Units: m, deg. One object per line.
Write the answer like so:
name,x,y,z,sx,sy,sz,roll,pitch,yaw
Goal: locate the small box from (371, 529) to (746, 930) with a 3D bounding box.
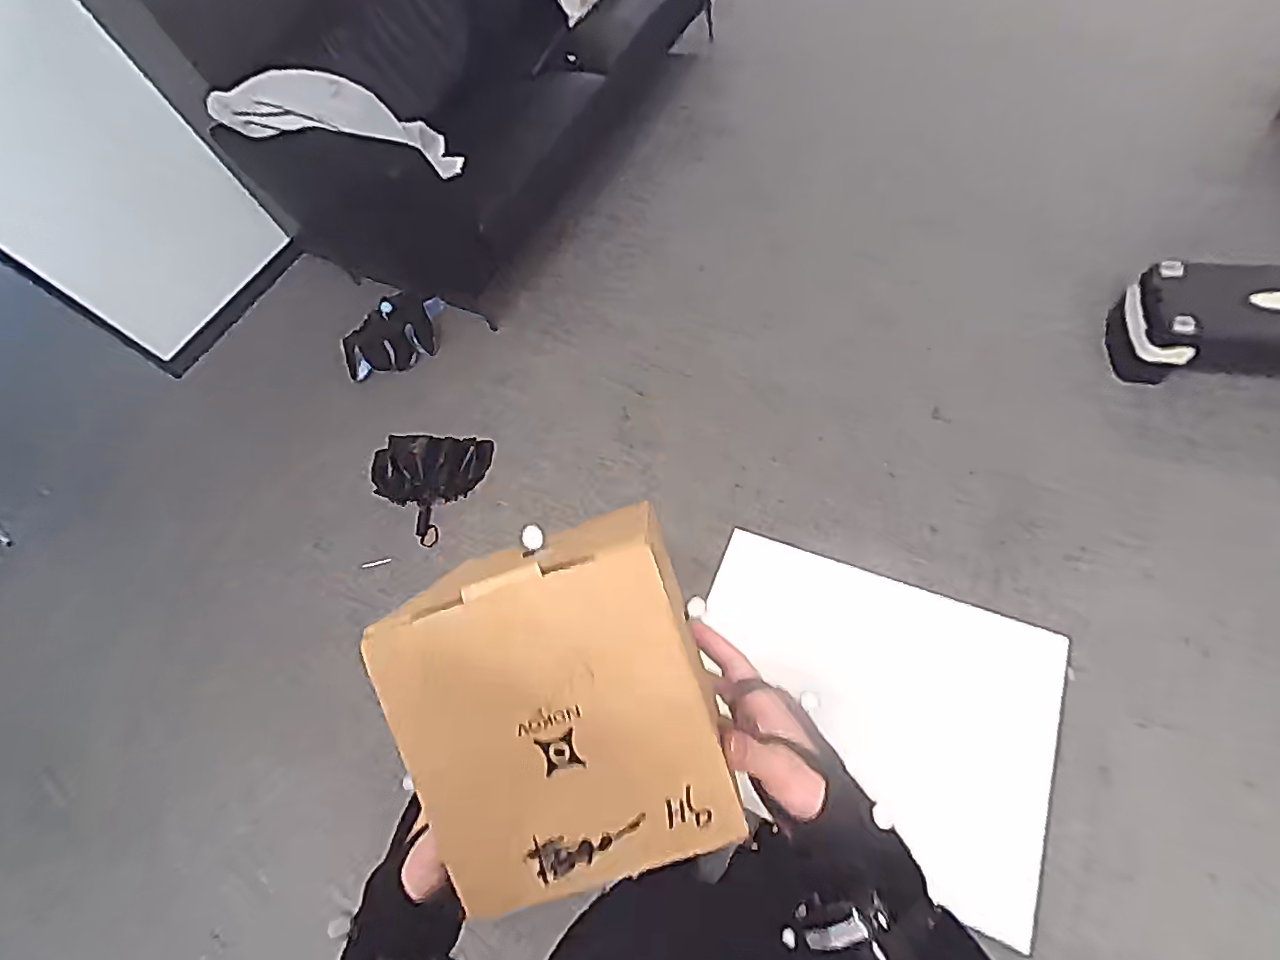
small box,-0.043,0.141,0.375,0.168,0.176,0.179,-19,93,3
